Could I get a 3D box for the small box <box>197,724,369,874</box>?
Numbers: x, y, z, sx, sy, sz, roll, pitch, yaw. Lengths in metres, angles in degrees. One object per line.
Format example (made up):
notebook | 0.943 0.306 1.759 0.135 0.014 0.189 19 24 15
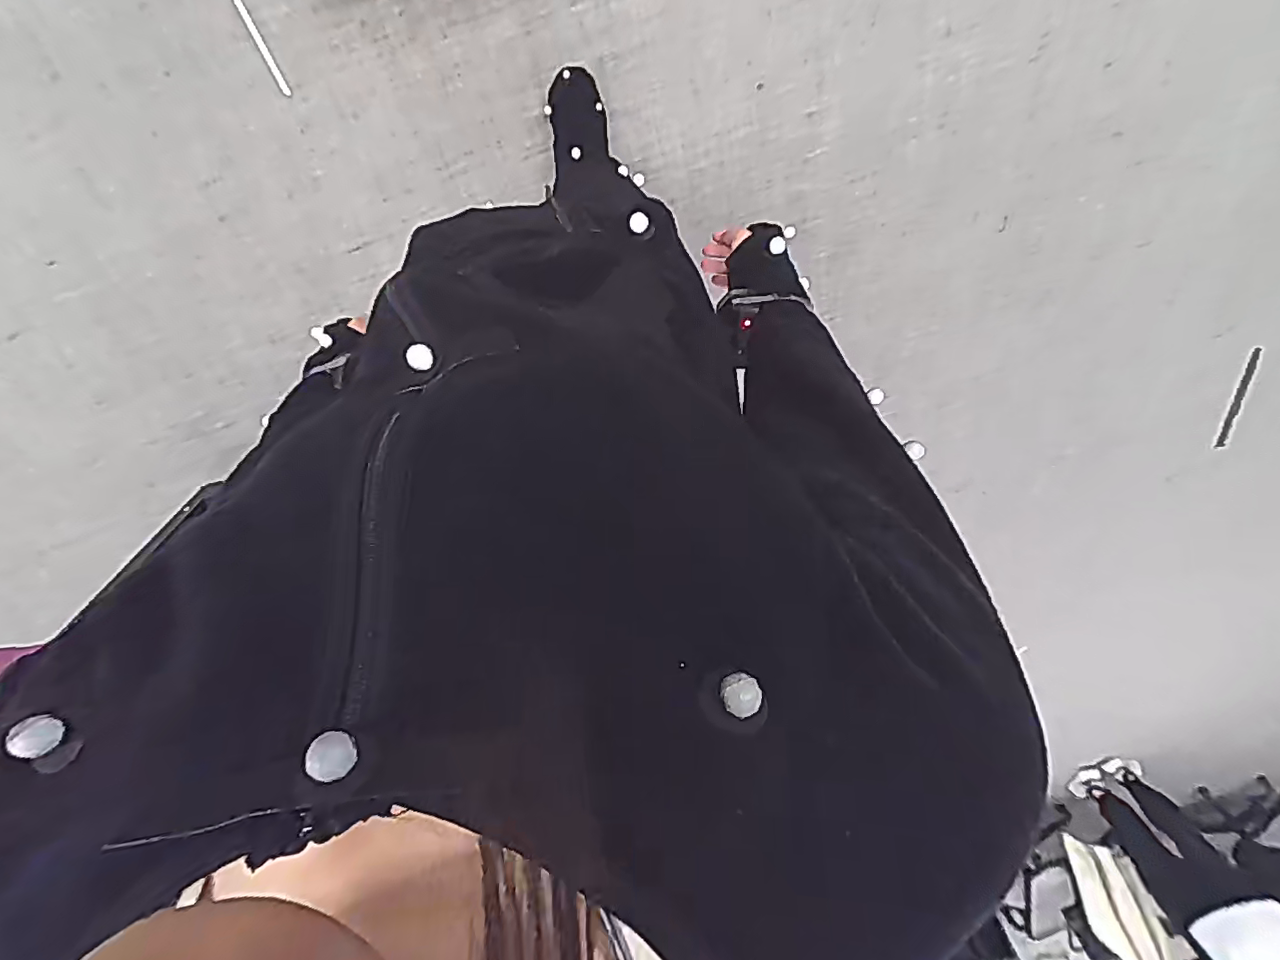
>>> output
small box | -0.614 0.563 0.964 0.179 0.176 0.168 -16 125 5
